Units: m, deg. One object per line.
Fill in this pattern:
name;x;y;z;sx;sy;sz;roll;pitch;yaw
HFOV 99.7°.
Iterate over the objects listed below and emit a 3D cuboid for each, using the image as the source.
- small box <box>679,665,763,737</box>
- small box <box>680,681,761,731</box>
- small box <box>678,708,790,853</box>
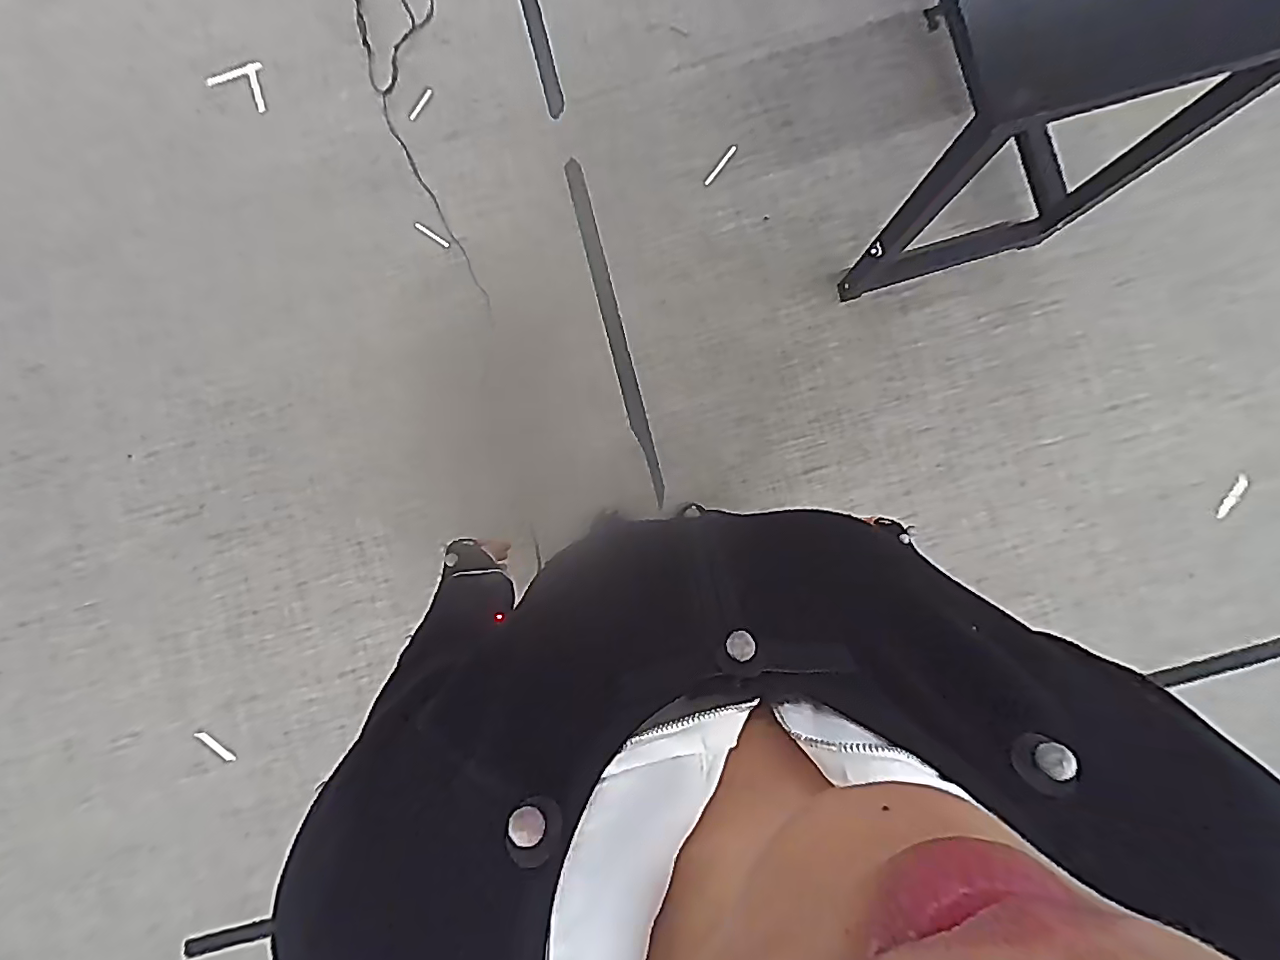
small box;0.205;0.599;1.397;0.179;0.176;0.168;-16;87;1
small box;0.193;0.590;1.234;0.168;0.176;0.179;-17;87;2
small box;0.179;0.583;1.069;0.168;0.176;0.179;-18;86;2
